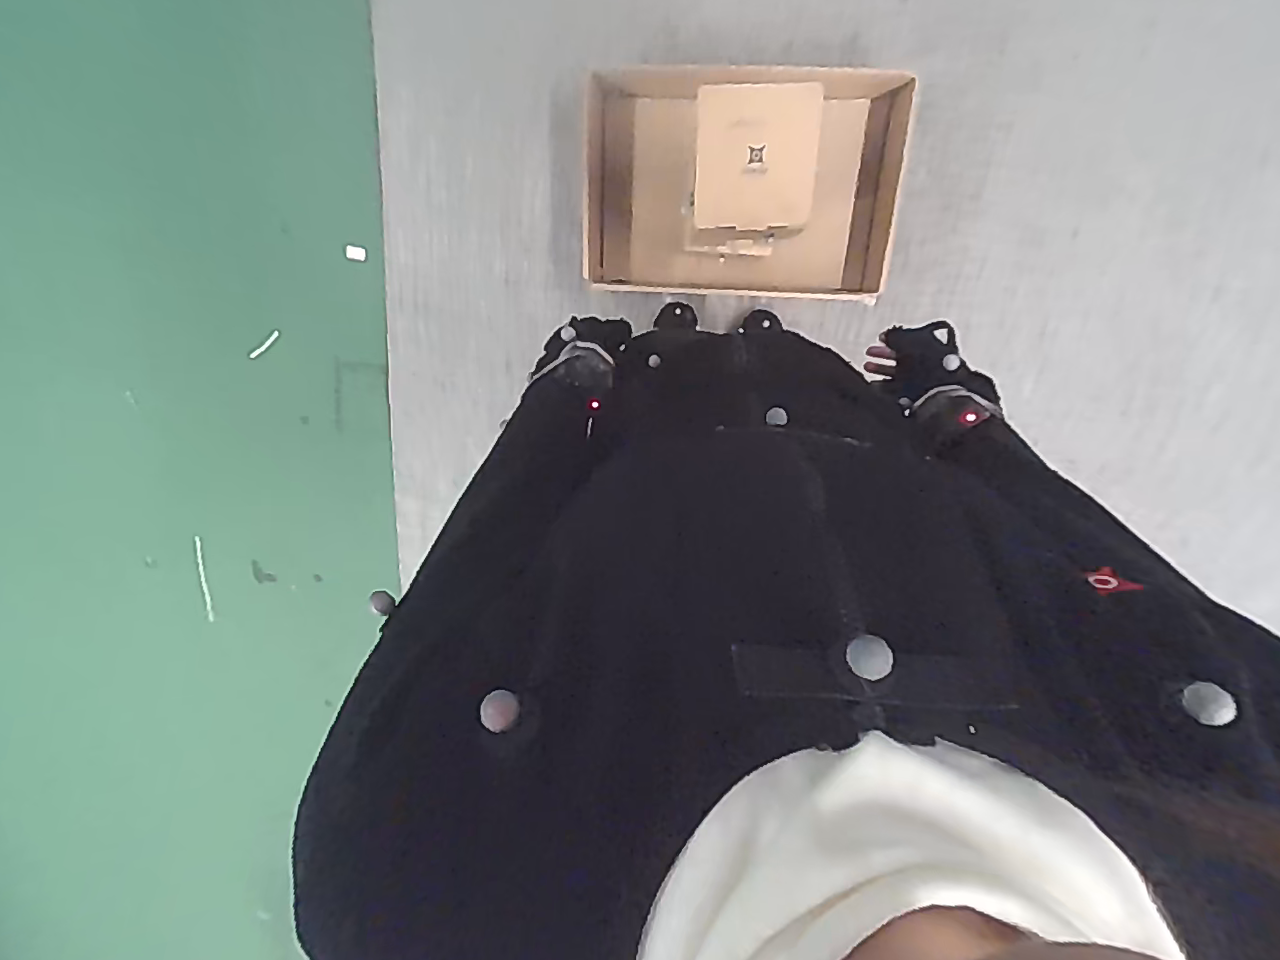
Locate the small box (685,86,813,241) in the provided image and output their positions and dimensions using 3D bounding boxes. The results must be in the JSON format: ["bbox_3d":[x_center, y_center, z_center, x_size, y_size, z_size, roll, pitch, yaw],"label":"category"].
[{"bbox_3d":[0.153,-0.462,0.816,0.168,0.176,0.179,1,107,4],"label":"small box"}]

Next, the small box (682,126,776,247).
[{"bbox_3d":[0.163,-0.518,0.969,0.168,0.176,0.179,2,109,4],"label":"small box"}]

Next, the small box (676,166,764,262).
[{"bbox_3d":[0.173,-0.558,1.143,0.179,0.176,0.168,6,108,4],"label":"small box"}]
